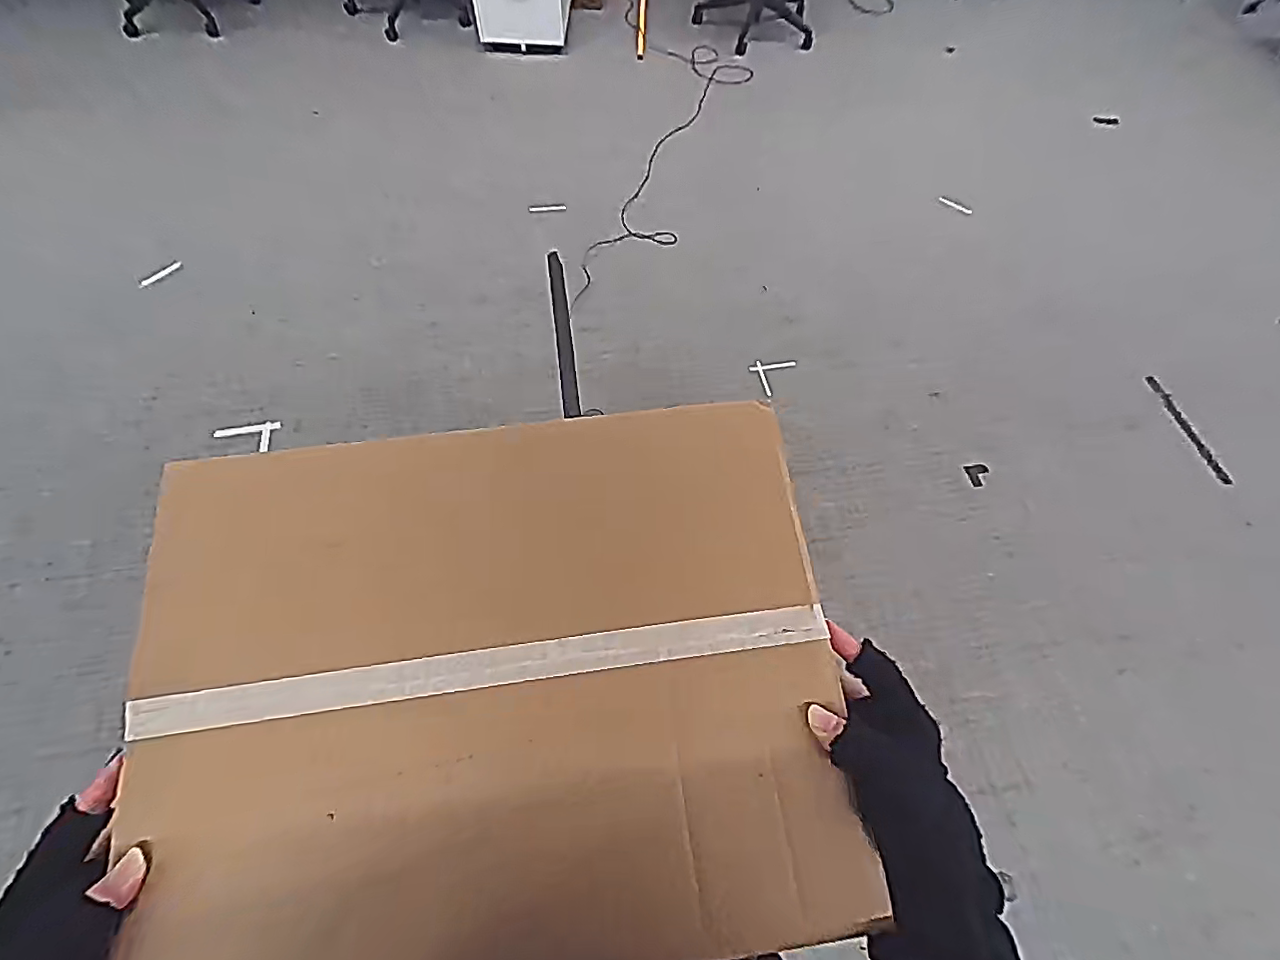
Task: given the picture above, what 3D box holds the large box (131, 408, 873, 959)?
[{"bbox_3d":[-0.090,0.164,0.473,0.408,0.320,0.320,-7,72,-4],"label":"large box"}]
